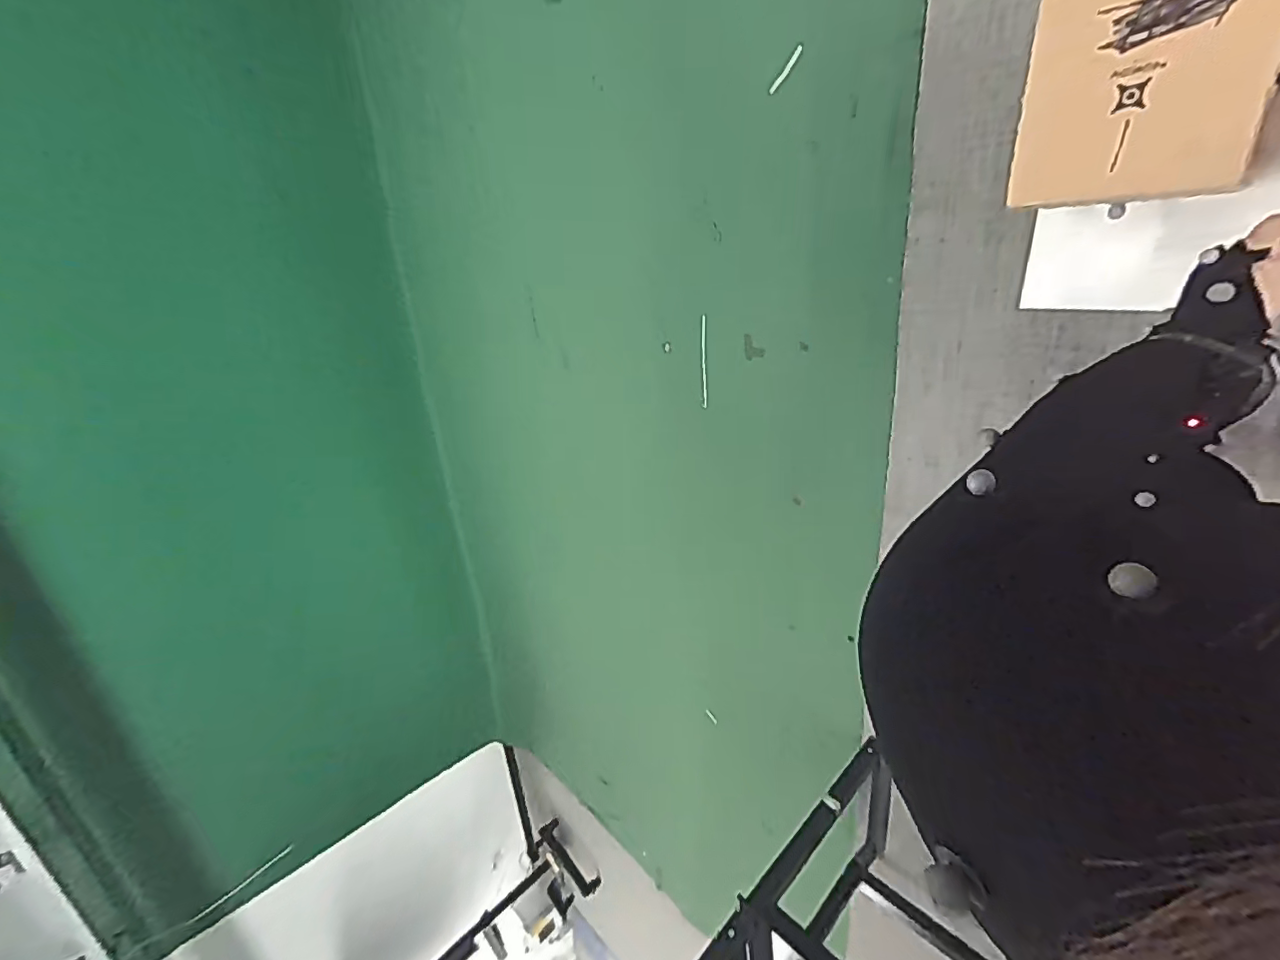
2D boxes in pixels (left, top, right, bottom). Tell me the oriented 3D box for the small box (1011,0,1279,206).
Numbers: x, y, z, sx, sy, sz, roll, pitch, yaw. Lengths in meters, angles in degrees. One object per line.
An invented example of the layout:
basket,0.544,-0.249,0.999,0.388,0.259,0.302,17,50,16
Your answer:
small box,0.485,-0.364,0.512,0.168,0.176,0.179,19,122,43
